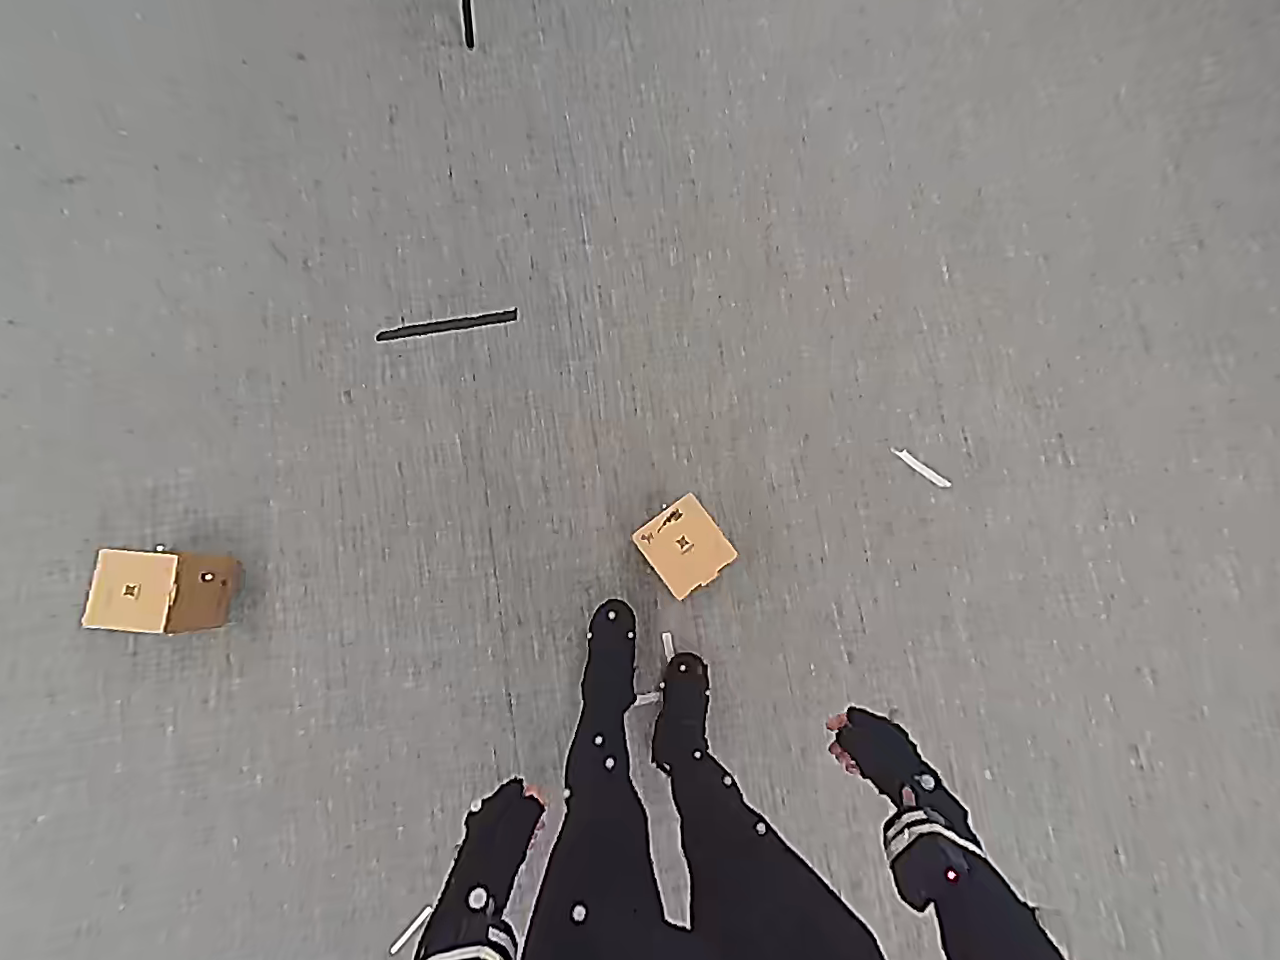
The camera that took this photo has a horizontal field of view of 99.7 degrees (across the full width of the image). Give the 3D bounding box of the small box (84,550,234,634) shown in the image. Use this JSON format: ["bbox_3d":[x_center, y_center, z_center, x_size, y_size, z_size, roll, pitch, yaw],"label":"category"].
[{"bbox_3d":[-1.063,0.247,1.213,0.179,0.176,0.168,4,80,1],"label":"small box"}]

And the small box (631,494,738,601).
[{"bbox_3d":[0.095,0.151,1.233,0.168,0.176,0.179,-36,84,-5],"label":"small box"}]
